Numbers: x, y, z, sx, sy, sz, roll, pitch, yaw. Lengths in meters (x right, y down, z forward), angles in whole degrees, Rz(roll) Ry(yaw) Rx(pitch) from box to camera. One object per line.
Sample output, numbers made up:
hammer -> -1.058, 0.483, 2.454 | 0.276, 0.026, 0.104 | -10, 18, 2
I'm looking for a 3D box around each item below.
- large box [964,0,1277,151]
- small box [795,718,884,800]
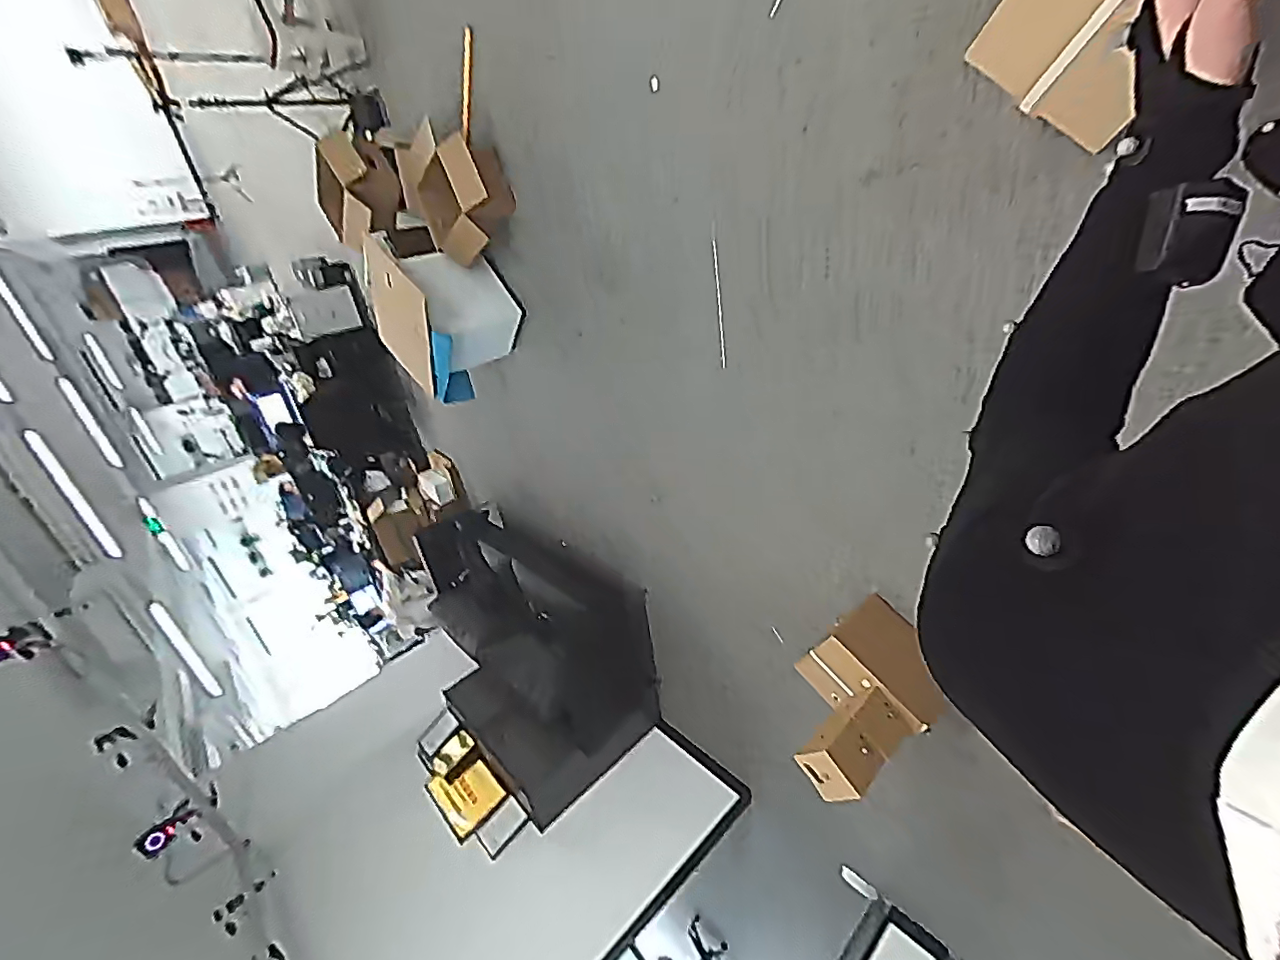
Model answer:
large box -> 0.870, -0.847, 0.914 | 0.320, 0.320, 0.408 | 50, 144, 14
small box -> 0.649, 0.905, 1.756 | 0.168, 0.176, 0.179 | 52, 144, 13
